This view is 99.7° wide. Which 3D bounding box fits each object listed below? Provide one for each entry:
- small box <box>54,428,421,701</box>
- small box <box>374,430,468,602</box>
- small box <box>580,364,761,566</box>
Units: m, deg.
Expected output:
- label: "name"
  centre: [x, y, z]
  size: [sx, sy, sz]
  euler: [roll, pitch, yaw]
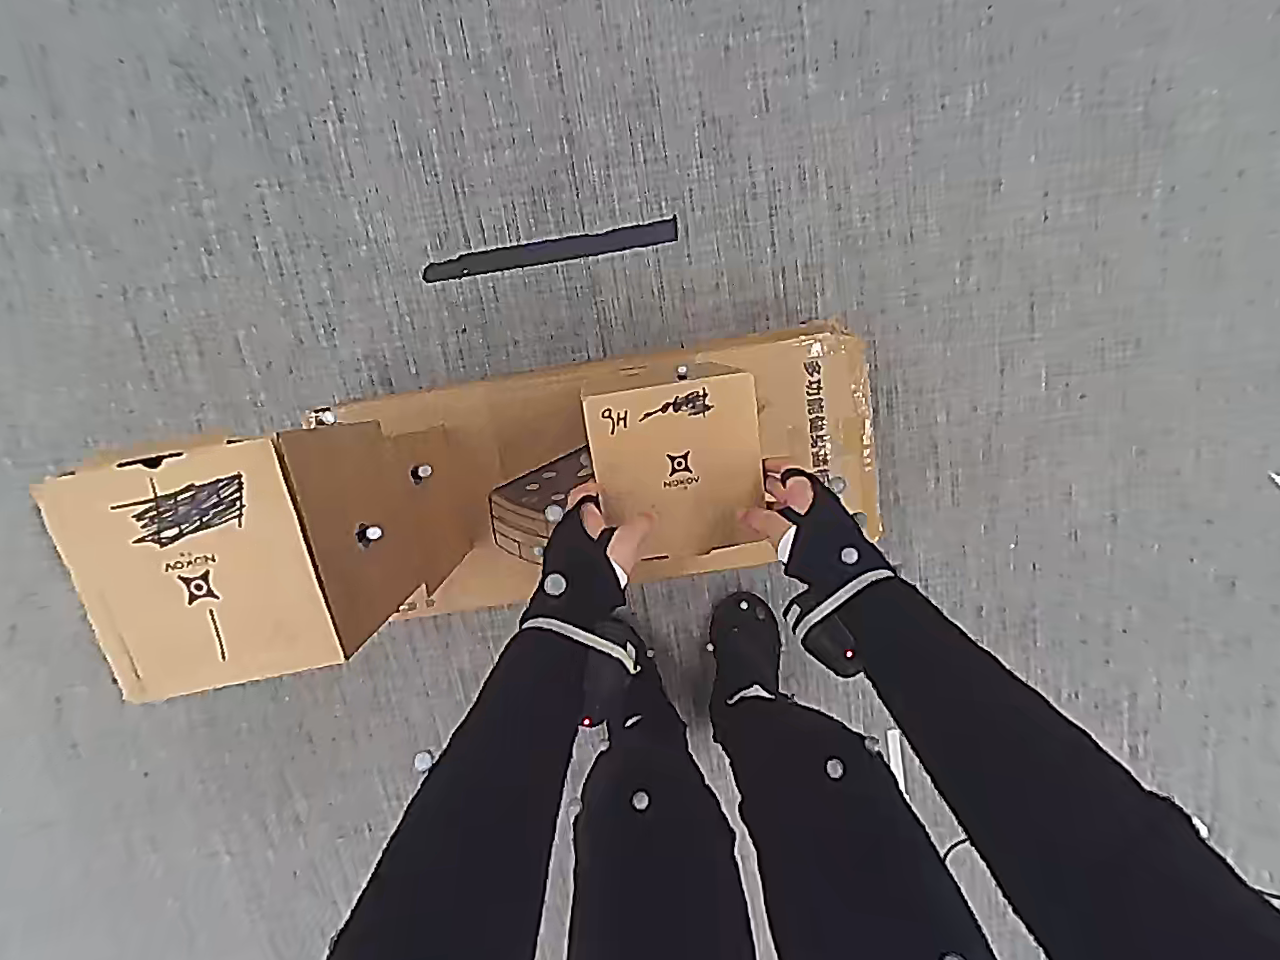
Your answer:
- label: "small box"
  centre: [-0.314, 0.054, 0.468]
  size: [0.168, 0.176, 0.179]
  euler: [-11, 101, -1]
- label: "small box"
  centre: [-0.317, 0.040, 0.631]
  size: [0.168, 0.176, 0.179]
  euler: [-9, 101, 0]
- label: "small box"
  centre: [0.030, -0.027, 0.608]
  size: [0.168, 0.176, 0.179]
  euler: [-9, 106, -2]
